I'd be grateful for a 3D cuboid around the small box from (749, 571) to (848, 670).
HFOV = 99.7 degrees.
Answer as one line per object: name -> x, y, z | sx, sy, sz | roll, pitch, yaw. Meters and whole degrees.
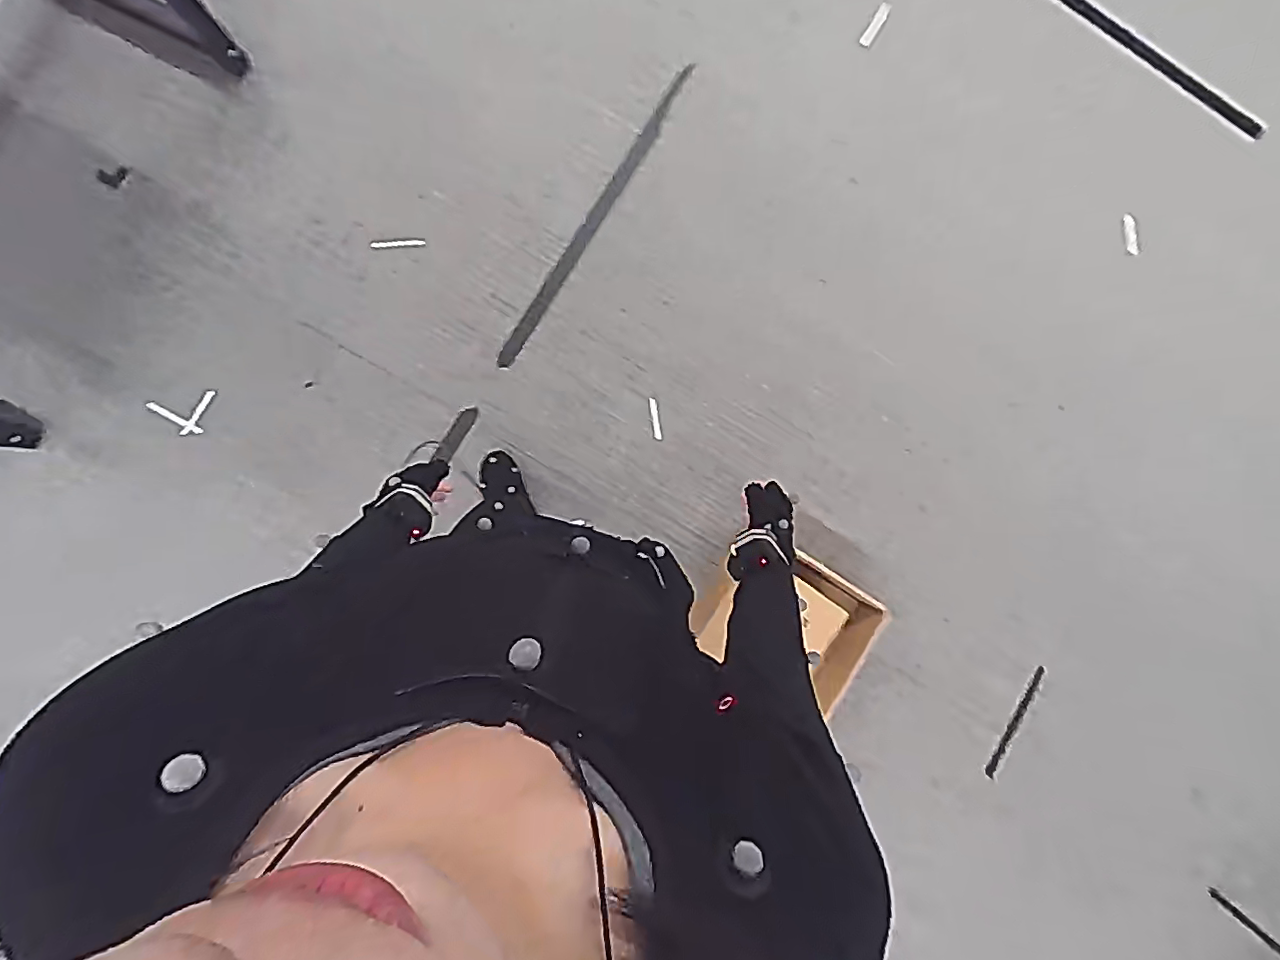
small box -> 0.408, 0.364, 1.434 | 0.168, 0.176, 0.179 | 36, 86, -3
